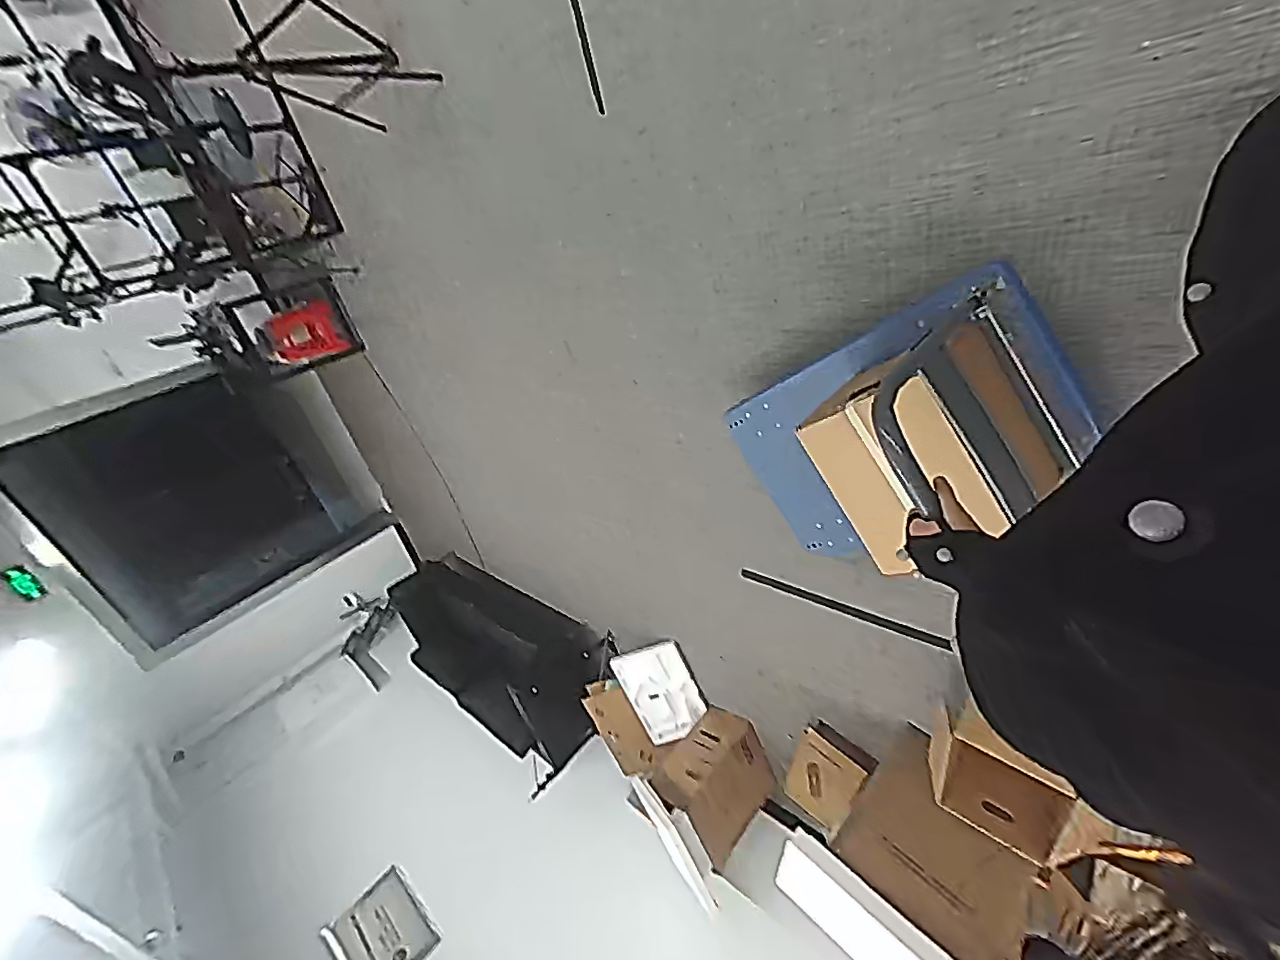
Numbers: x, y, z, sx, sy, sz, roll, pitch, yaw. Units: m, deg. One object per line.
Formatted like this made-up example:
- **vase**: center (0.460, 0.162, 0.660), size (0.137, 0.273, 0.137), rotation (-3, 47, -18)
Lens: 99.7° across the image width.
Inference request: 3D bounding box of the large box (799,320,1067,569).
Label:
- **large box**: center (0.643, -0.067, 1.192), size (0.408, 0.320, 0.320), rotation (57, 145, -4)
